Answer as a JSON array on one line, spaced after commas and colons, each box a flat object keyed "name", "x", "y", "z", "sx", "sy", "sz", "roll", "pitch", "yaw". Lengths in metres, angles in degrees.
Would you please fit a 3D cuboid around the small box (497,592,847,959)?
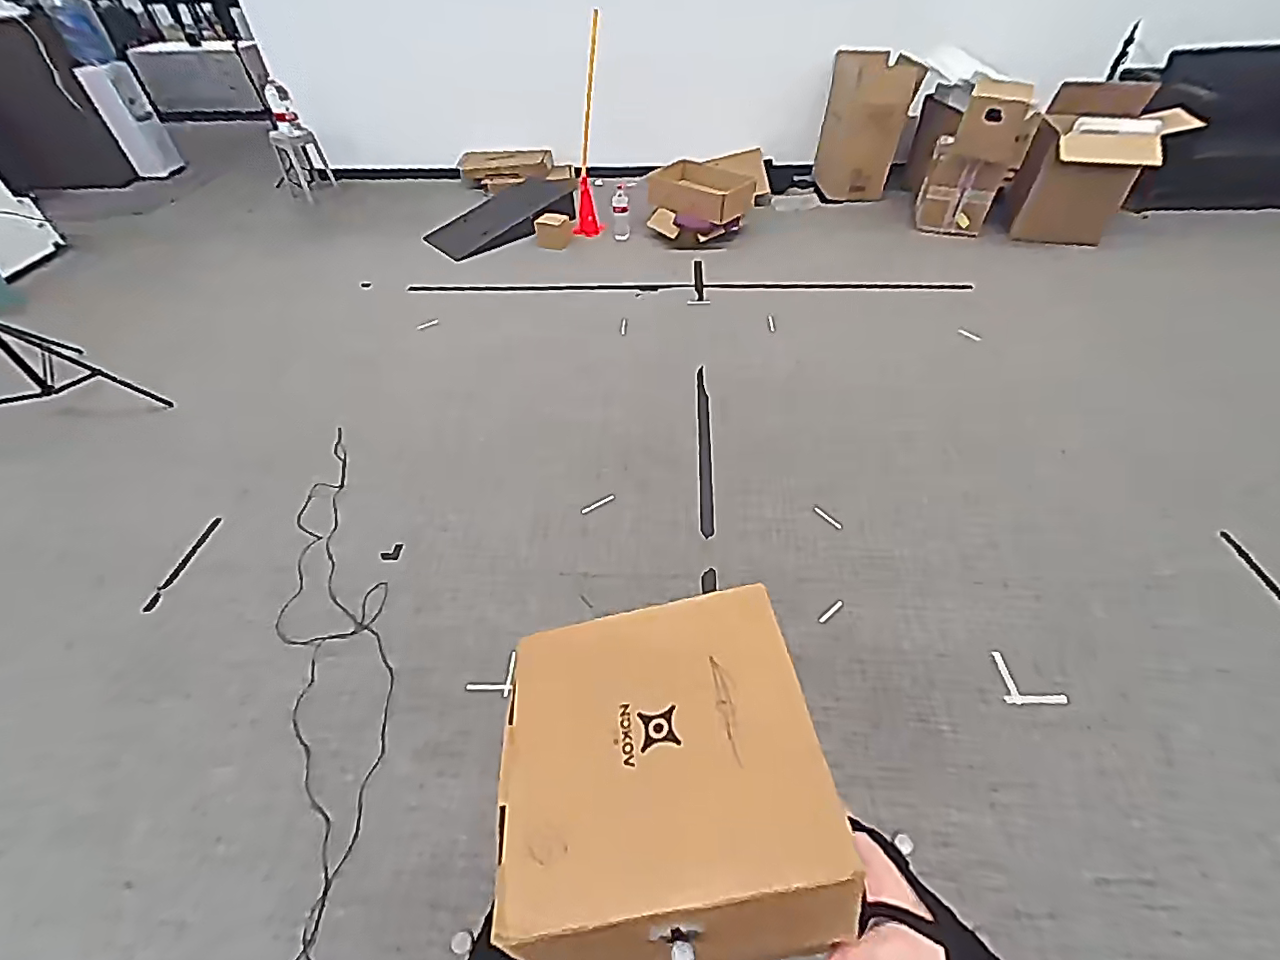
[{"name": "small box", "x": 0.025, "y": 0.207, "z": 0.366, "sx": 0.179, "sy": 0.176, "sz": 0.168, "roll": -13, "pitch": 40, "yaw": 3}]
